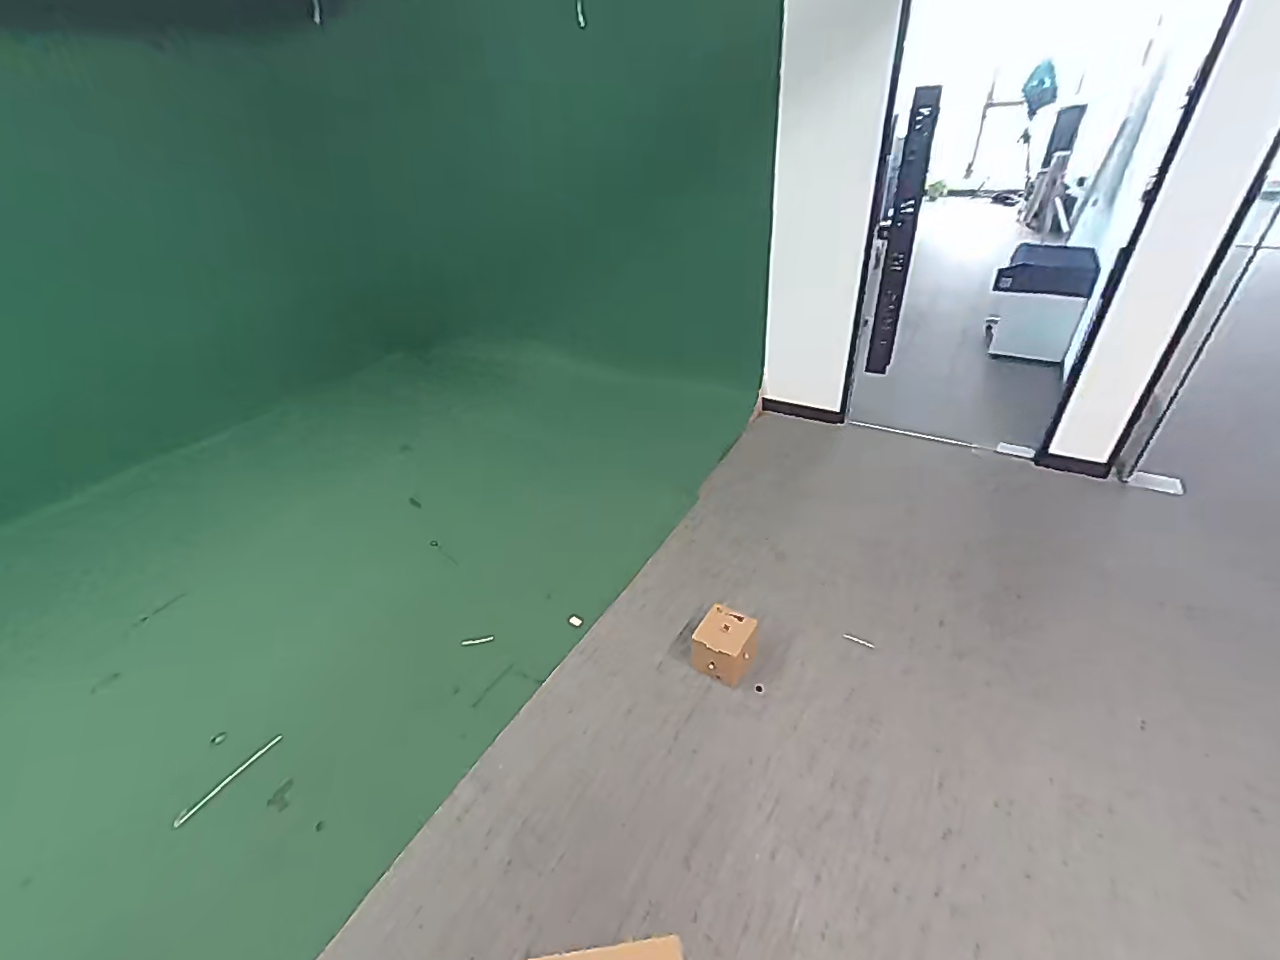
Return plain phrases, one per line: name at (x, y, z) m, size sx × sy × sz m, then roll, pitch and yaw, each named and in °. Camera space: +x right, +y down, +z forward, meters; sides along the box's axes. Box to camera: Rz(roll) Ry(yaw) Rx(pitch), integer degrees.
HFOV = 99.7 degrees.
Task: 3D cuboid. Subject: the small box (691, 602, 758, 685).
small box at (0.291, 0.559, 1.839) m, size 0.168 × 0.176 × 0.179 m, roll 19°, pitch 43°, yaw 30°
